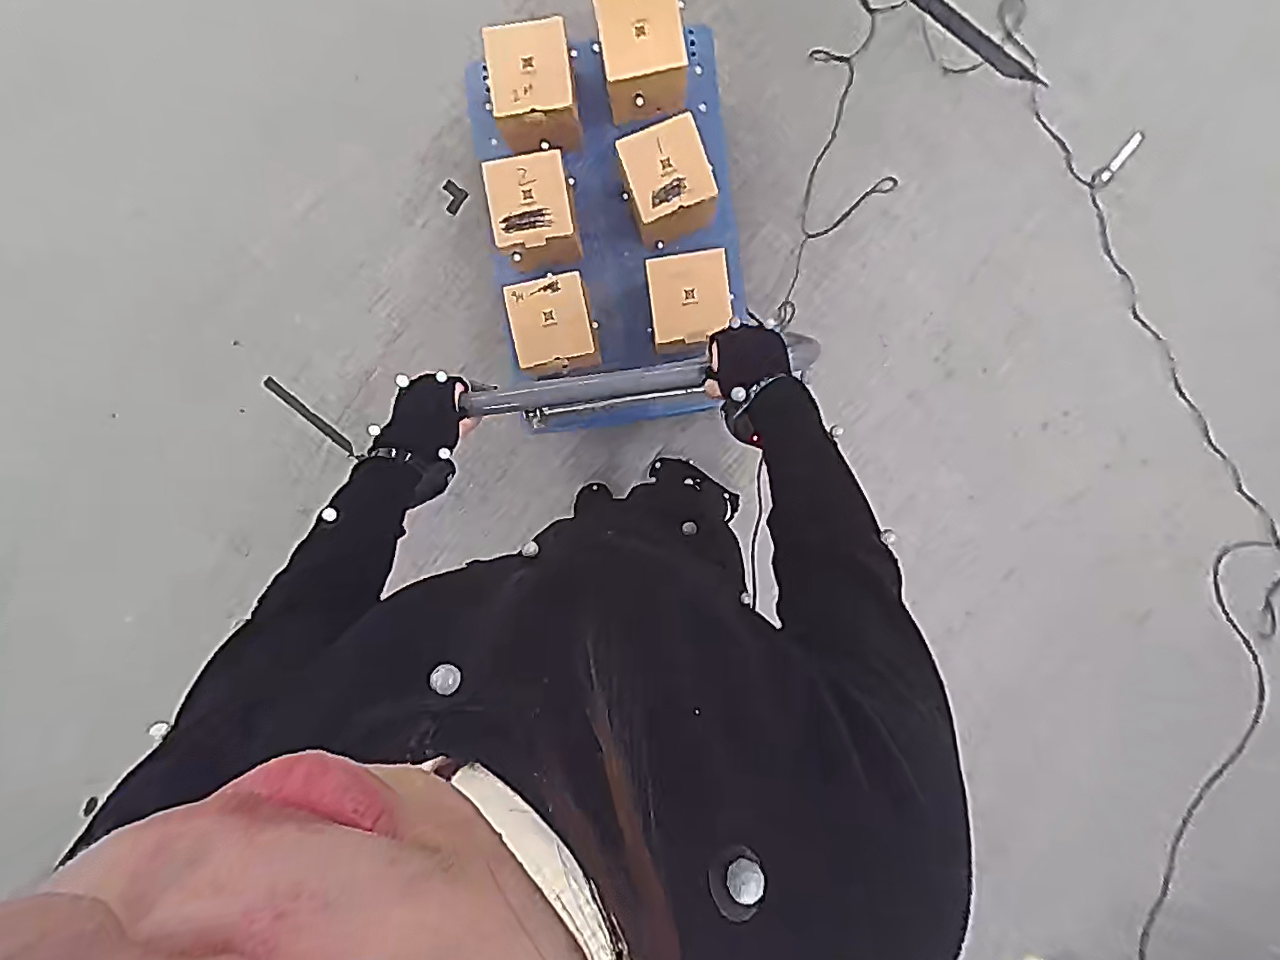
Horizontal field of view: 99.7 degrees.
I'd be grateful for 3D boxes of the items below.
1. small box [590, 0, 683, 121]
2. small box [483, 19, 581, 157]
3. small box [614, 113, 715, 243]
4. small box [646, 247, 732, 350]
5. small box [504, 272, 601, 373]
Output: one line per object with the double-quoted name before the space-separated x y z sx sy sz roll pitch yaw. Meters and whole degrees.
"small box" -0.003 -0.909 1.161 0.168 0.176 0.179 -11 94 3
"small box" -0.227 -0.839 1.172 0.168 0.176 0.179 -7 96 2
"small box" 0.054 -0.643 1.182 0.168 0.176 0.179 -20 94 3
"small box" 0.106 -0.392 1.203 0.168 0.176 0.179 -8 94 2
"small box" -0.188 -0.343 1.215 0.168 0.176 0.179 -12 95 2
